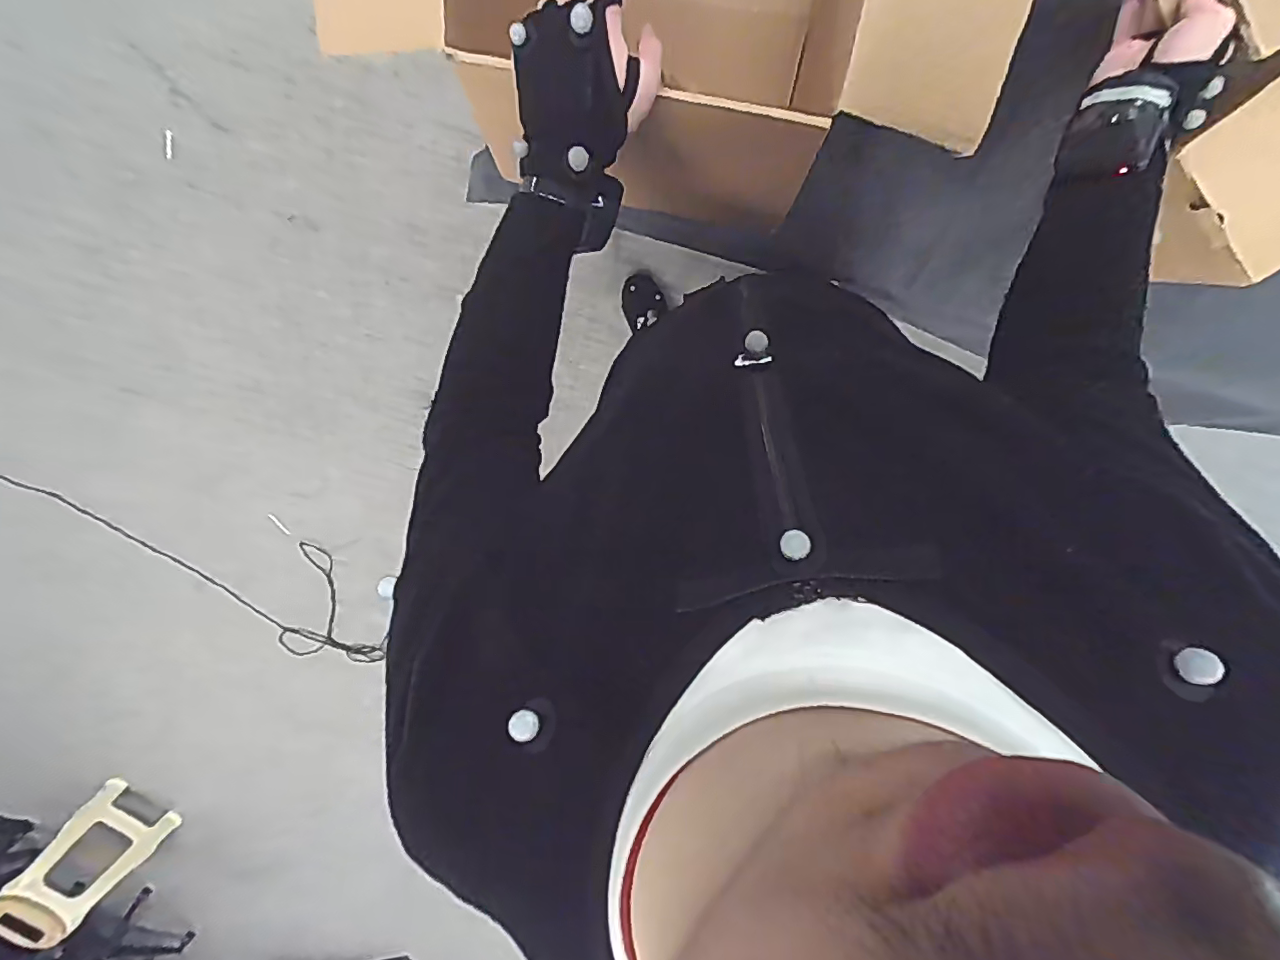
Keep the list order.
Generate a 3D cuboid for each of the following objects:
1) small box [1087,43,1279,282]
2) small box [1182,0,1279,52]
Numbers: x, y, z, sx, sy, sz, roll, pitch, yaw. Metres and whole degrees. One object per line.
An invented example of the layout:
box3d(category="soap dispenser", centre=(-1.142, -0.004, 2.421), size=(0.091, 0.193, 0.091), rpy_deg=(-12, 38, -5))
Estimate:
box3d(category="small box", centre=(0.638, -0.339, 0.582), size=(0.179, 0.176, 0.168), rpy_deg=(-38, 104, 19))
box3d(category="small box", centre=(0.520, -0.477, 0.400), size=(0.168, 0.176, 0.179), rpy_deg=(40, 137, -22))
